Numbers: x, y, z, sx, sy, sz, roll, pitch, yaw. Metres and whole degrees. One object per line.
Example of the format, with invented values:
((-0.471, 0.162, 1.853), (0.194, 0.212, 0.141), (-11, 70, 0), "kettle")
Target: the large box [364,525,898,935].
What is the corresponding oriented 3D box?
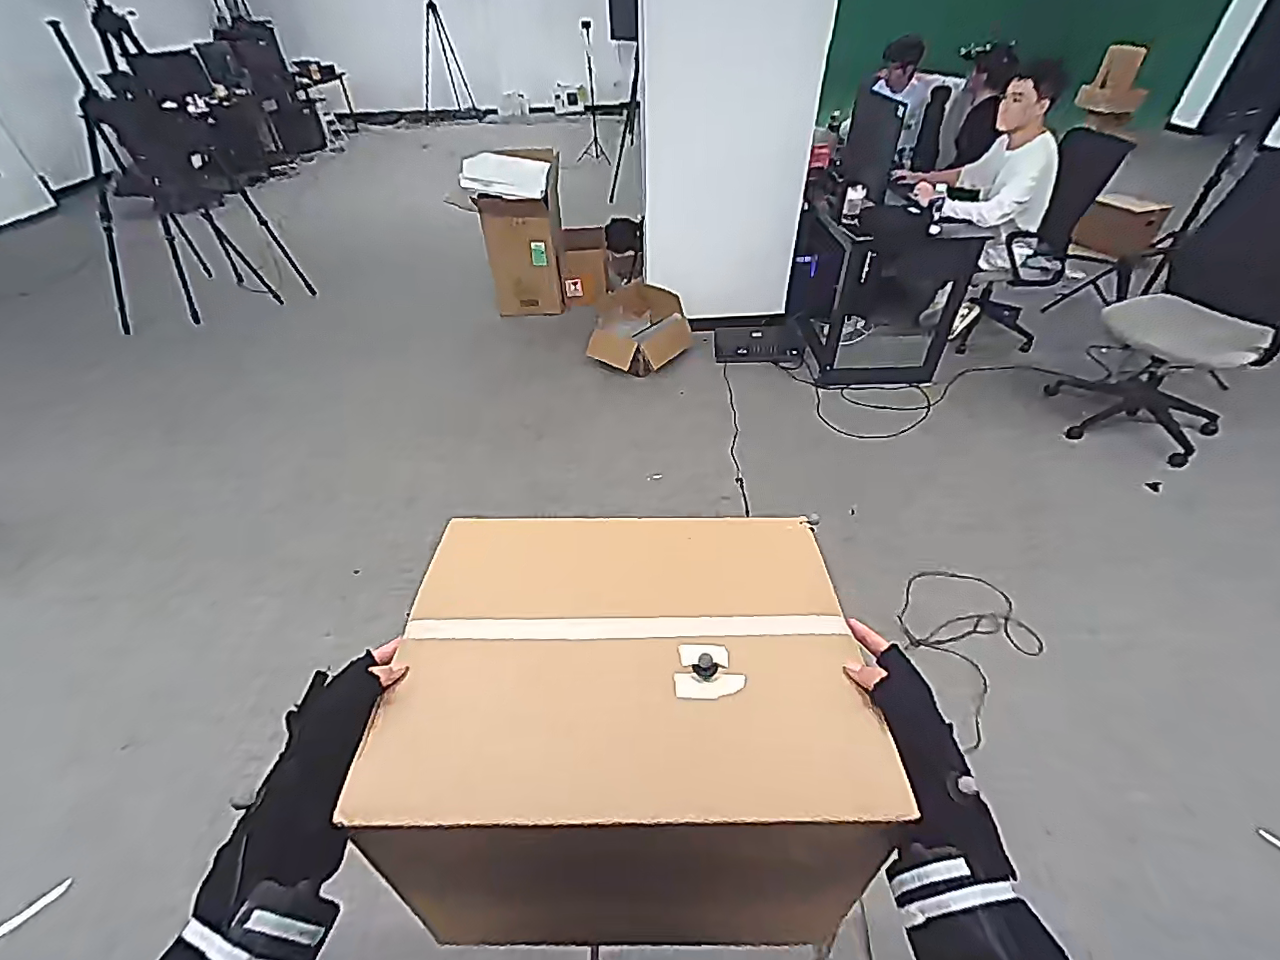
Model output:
((-0.009, 0.264, 0.601), (0.408, 0.320, 0.320), (0, 37, 0), "large box")
